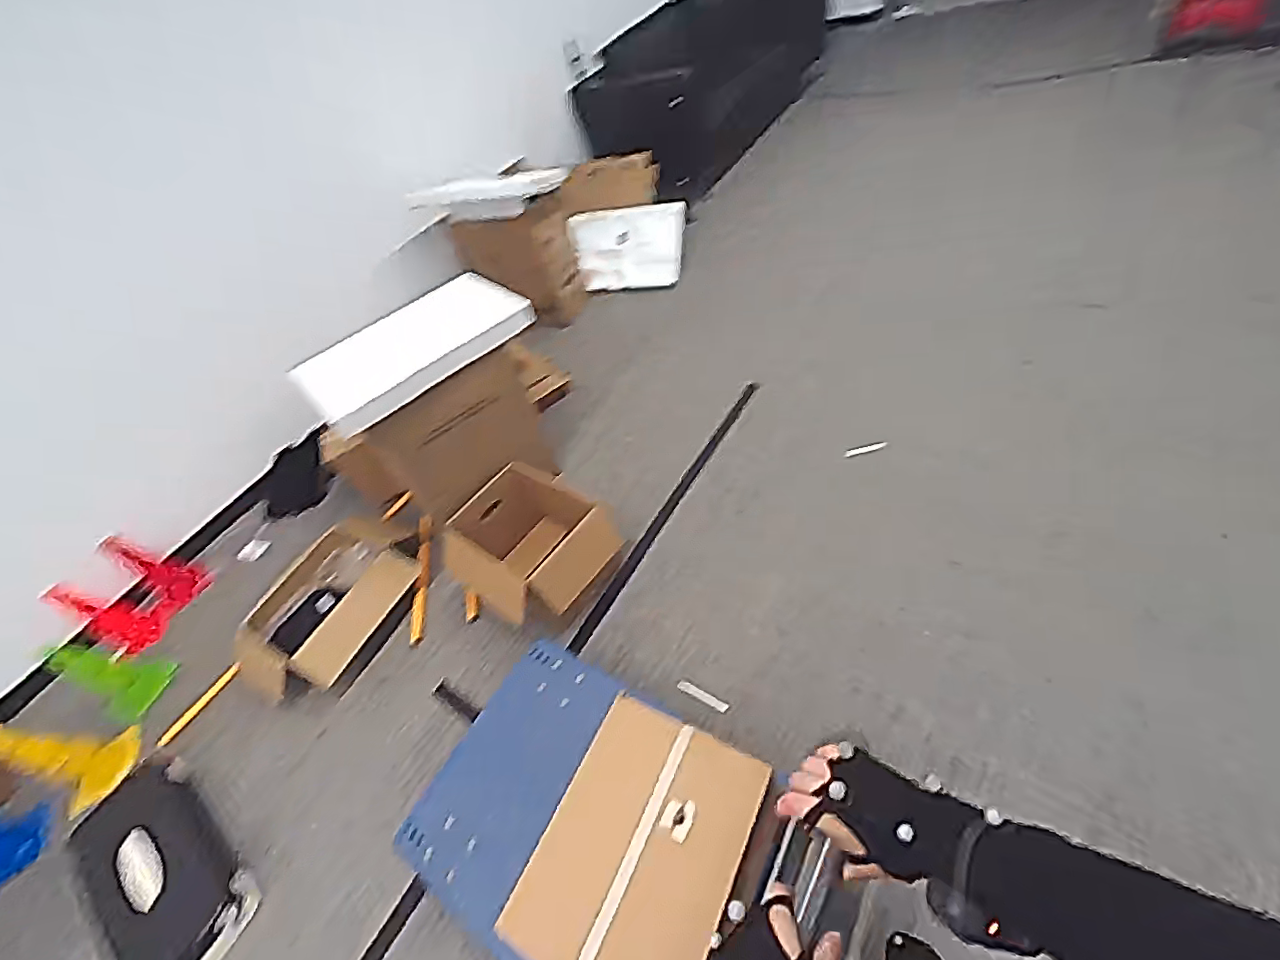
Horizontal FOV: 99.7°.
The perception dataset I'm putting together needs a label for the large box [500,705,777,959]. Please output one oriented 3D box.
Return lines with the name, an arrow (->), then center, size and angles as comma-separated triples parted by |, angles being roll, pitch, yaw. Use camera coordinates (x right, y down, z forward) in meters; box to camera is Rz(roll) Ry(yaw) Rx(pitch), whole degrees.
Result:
large box -> 0.031, 0.707, 0.977 | 0.320, 0.320, 0.408 | 14, 54, 28
